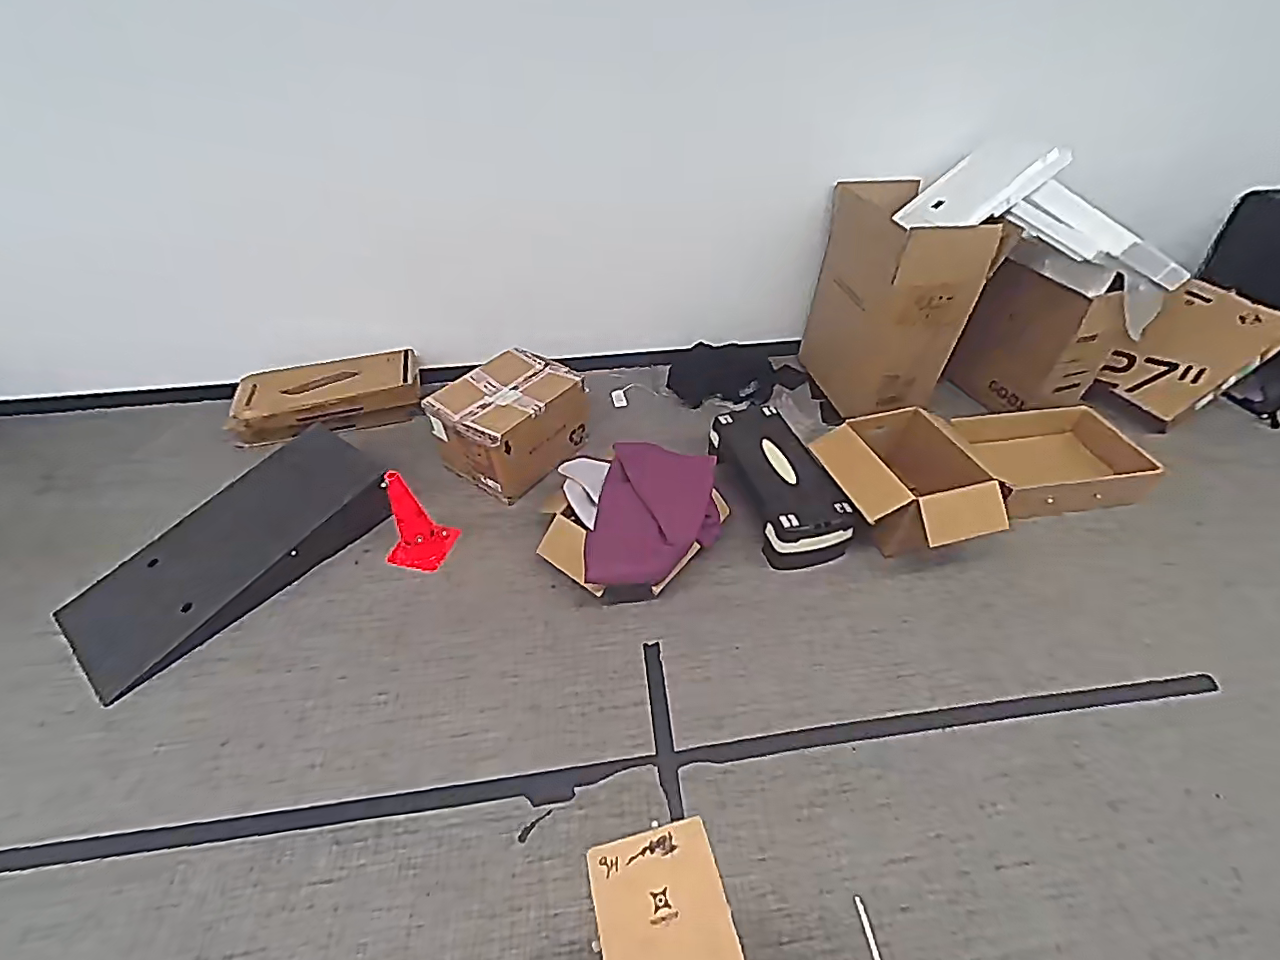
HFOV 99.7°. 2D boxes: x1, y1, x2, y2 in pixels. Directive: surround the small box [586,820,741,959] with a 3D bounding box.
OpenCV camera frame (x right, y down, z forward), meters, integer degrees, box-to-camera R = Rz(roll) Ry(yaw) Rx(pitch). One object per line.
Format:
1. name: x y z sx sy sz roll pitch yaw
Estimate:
1. small box: 0.029 0.595 0.727 0.168 0.176 0.179 -11 46 -10
